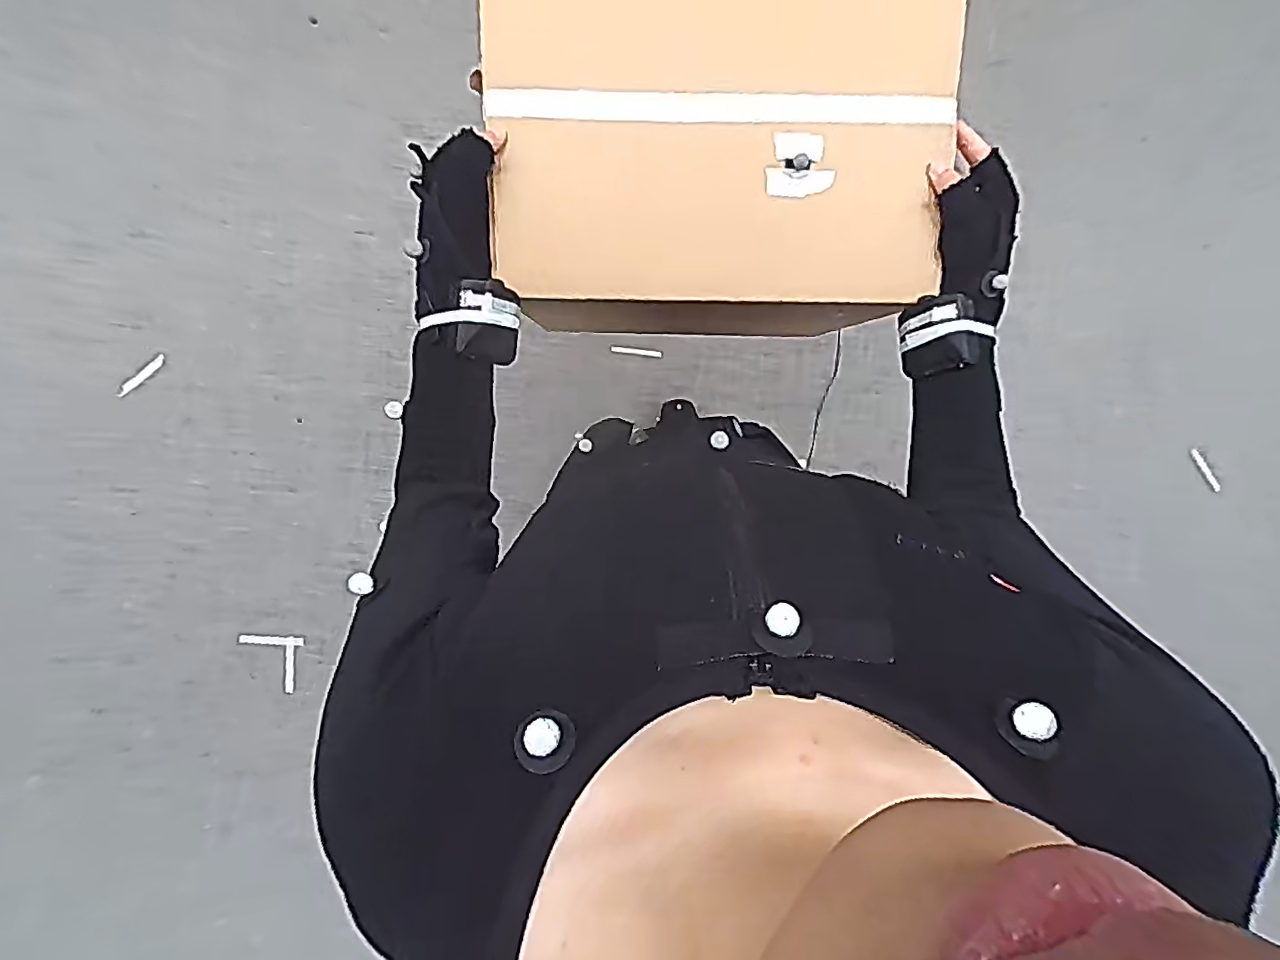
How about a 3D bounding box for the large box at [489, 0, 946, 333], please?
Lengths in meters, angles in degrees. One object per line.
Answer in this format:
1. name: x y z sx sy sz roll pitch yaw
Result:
1. large box: 0.063 -0.348 0.629 0.408 0.320 0.320 0 100 -2
